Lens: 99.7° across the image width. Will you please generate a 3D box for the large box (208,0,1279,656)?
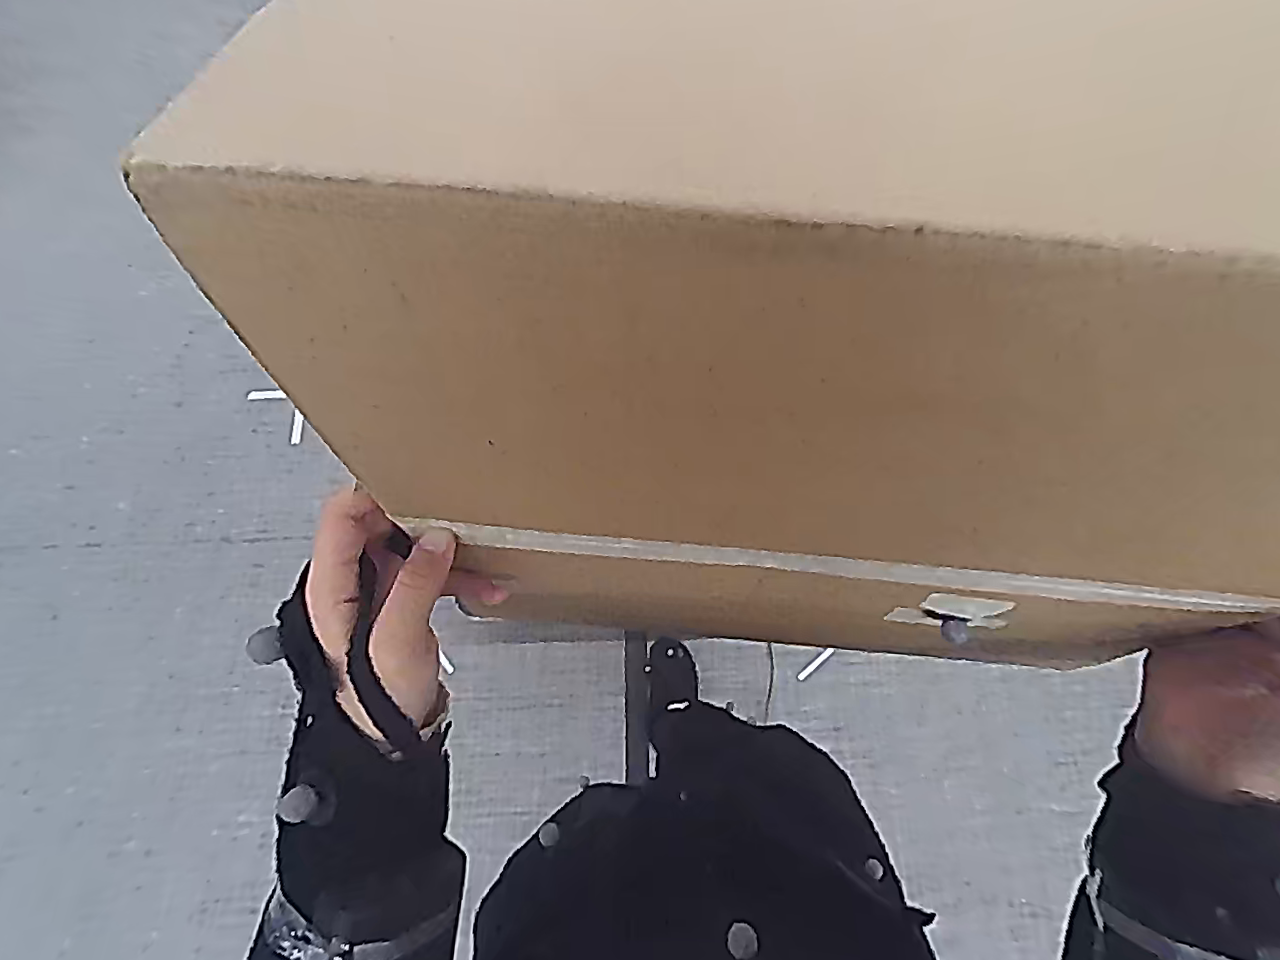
[{"bbox_3d":[0.102,-0.097,0.320,0.408,0.320,0.320,4,61,0],"label":"large box"}]
